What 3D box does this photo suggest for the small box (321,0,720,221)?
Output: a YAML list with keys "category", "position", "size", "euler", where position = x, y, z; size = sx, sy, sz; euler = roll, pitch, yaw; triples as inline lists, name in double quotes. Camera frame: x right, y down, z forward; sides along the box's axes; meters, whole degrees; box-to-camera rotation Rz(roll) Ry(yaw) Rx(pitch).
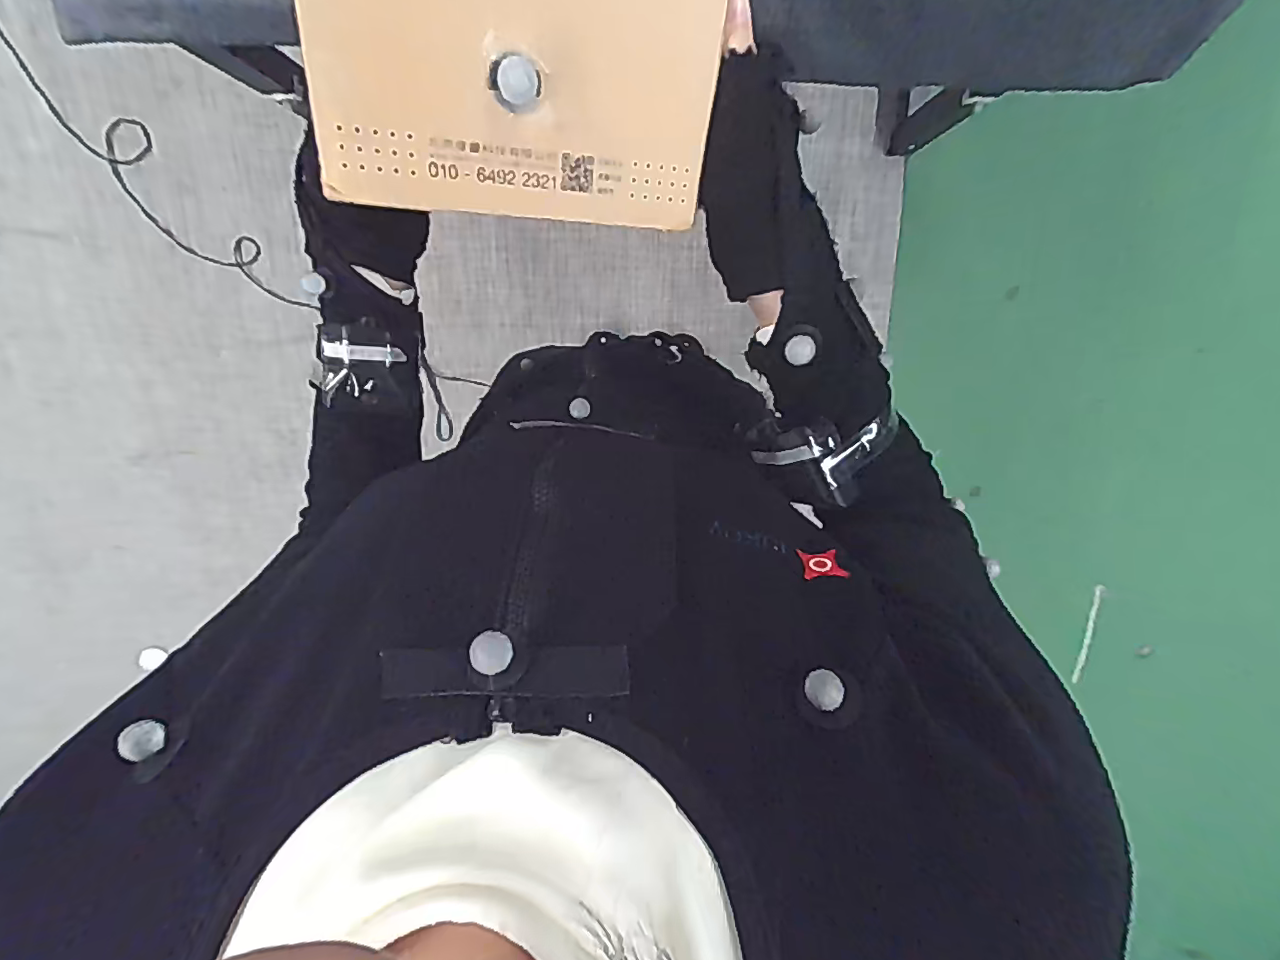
- category: "small box"
  position: [-0.064, -0.246, 0.281]
  size: [0.168, 0.179, 0.176]
  euler: [-4, 125, -16]
